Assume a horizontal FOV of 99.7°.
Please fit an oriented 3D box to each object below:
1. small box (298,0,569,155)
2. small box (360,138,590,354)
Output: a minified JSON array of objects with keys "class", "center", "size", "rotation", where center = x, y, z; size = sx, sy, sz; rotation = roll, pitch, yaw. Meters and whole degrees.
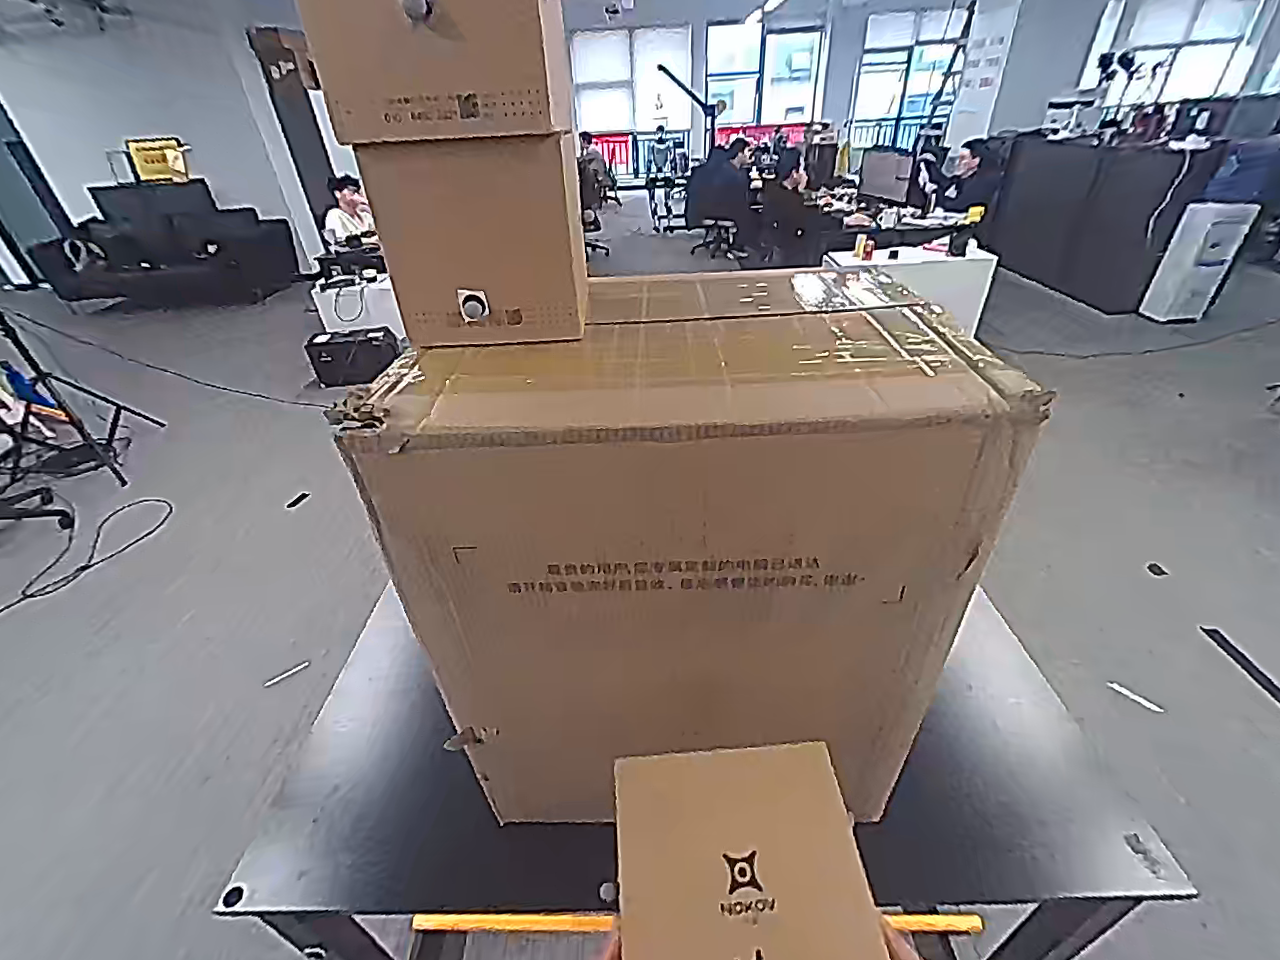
[{"class":"small box","center":[-0.152,-0.364,0.436],"size":[0.168,0.176,0.179],"rotation":[-4,34,0]},{"class":"small box","center":[-0.141,-0.236,0.540],"size":[0.168,0.176,0.179],"rotation":[-5,34,-1]}]
